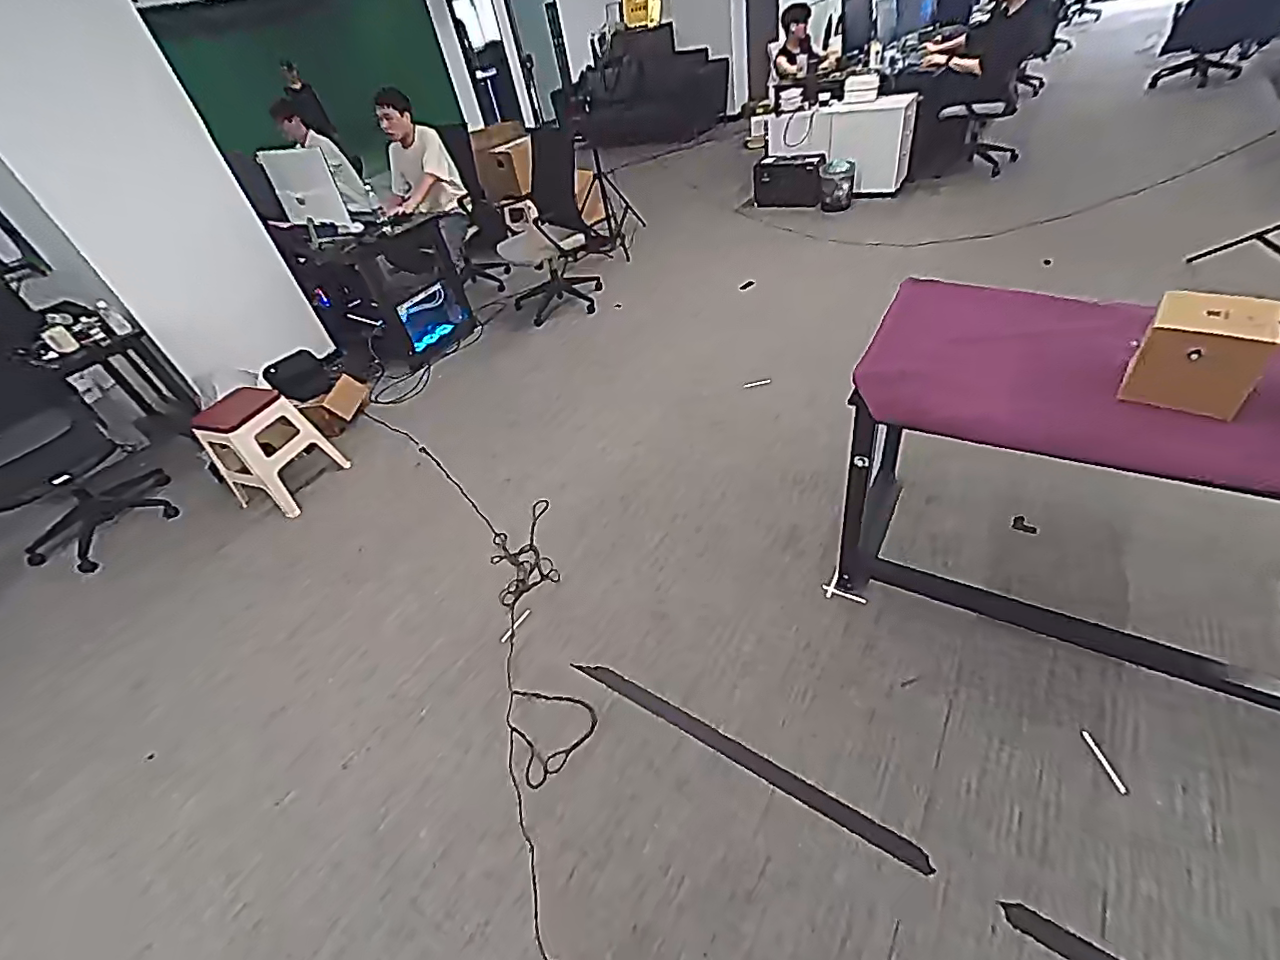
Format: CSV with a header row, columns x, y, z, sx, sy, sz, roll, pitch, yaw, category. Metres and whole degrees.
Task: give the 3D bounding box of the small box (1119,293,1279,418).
x,y,z,sx,sy,sz,roll,pitch,yaw,category
1.088,-0.243,1.059,0.179,0.176,0.168,24,54,34,small box
